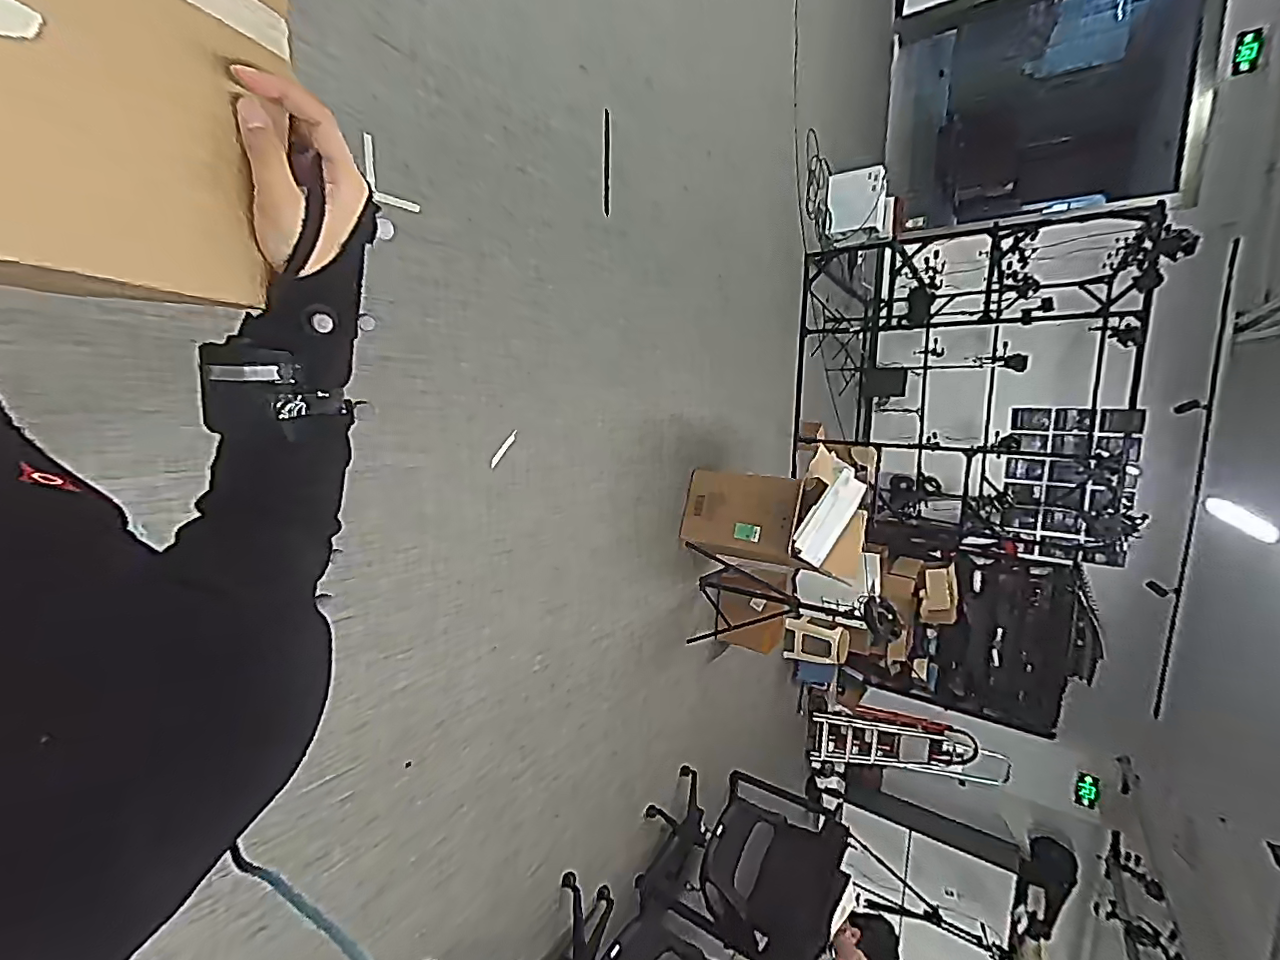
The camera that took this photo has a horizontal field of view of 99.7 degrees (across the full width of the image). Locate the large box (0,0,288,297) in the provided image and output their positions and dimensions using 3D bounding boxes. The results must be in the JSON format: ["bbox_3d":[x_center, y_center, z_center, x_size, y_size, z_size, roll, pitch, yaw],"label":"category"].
[{"bbox_3d":[-0.444,-0.277,0.223,0.408,0.320,0.320,-10,110,-63],"label":"large box"}]
